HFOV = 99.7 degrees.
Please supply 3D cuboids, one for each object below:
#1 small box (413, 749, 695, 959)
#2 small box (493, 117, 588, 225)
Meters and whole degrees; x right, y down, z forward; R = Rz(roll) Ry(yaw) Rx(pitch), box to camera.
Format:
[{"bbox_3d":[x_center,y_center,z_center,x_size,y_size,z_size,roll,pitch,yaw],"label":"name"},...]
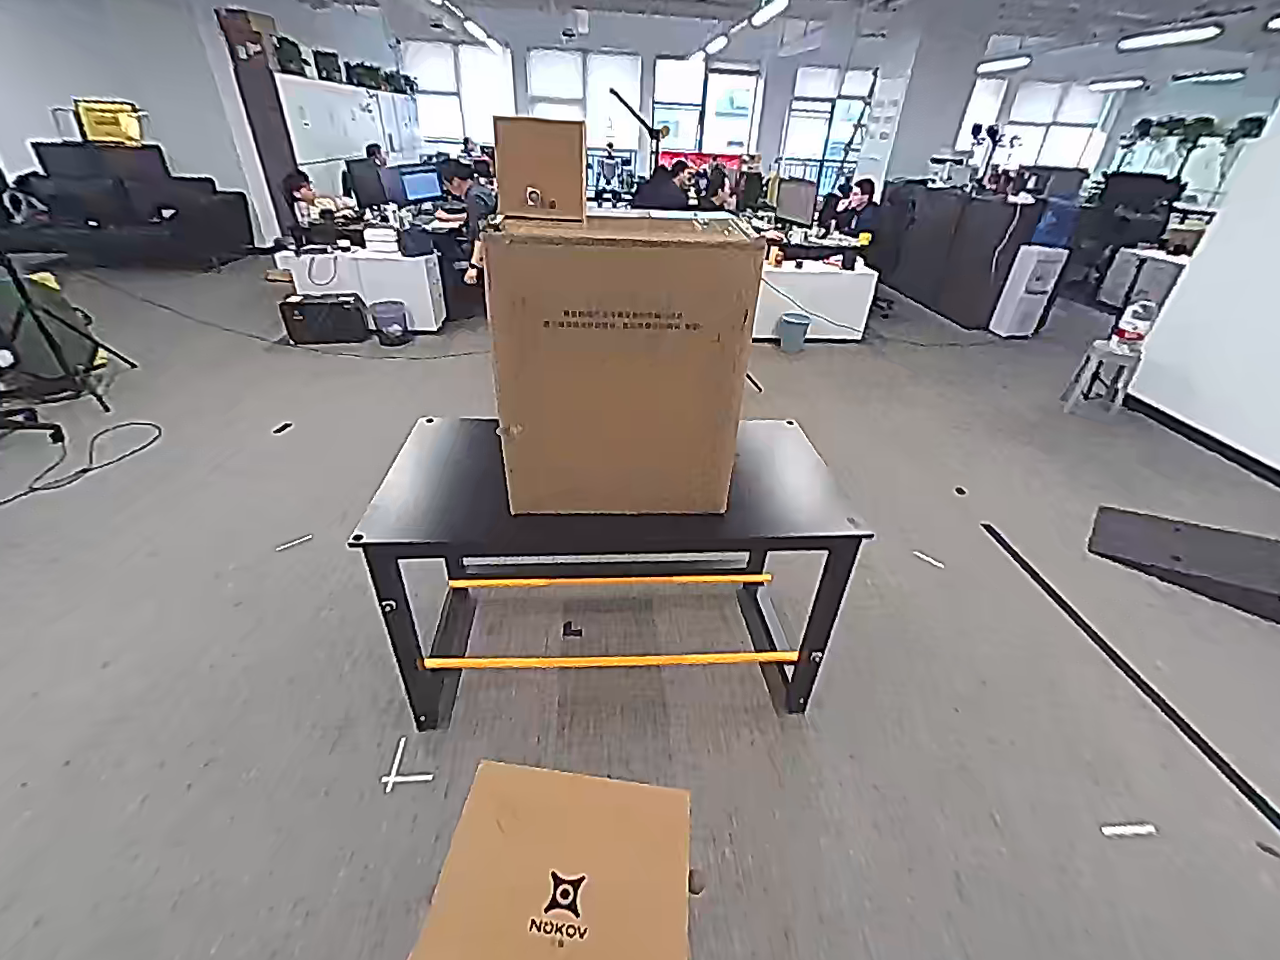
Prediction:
[{"bbox_3d":[-0.055,0.334,0.392,0.168,0.176,0.179,7,33,2],"label":"small box"},{"bbox_3d":[-0.191,-0.617,1.083,0.168,0.176,0.179,0,32,-4],"label":"small box"}]
